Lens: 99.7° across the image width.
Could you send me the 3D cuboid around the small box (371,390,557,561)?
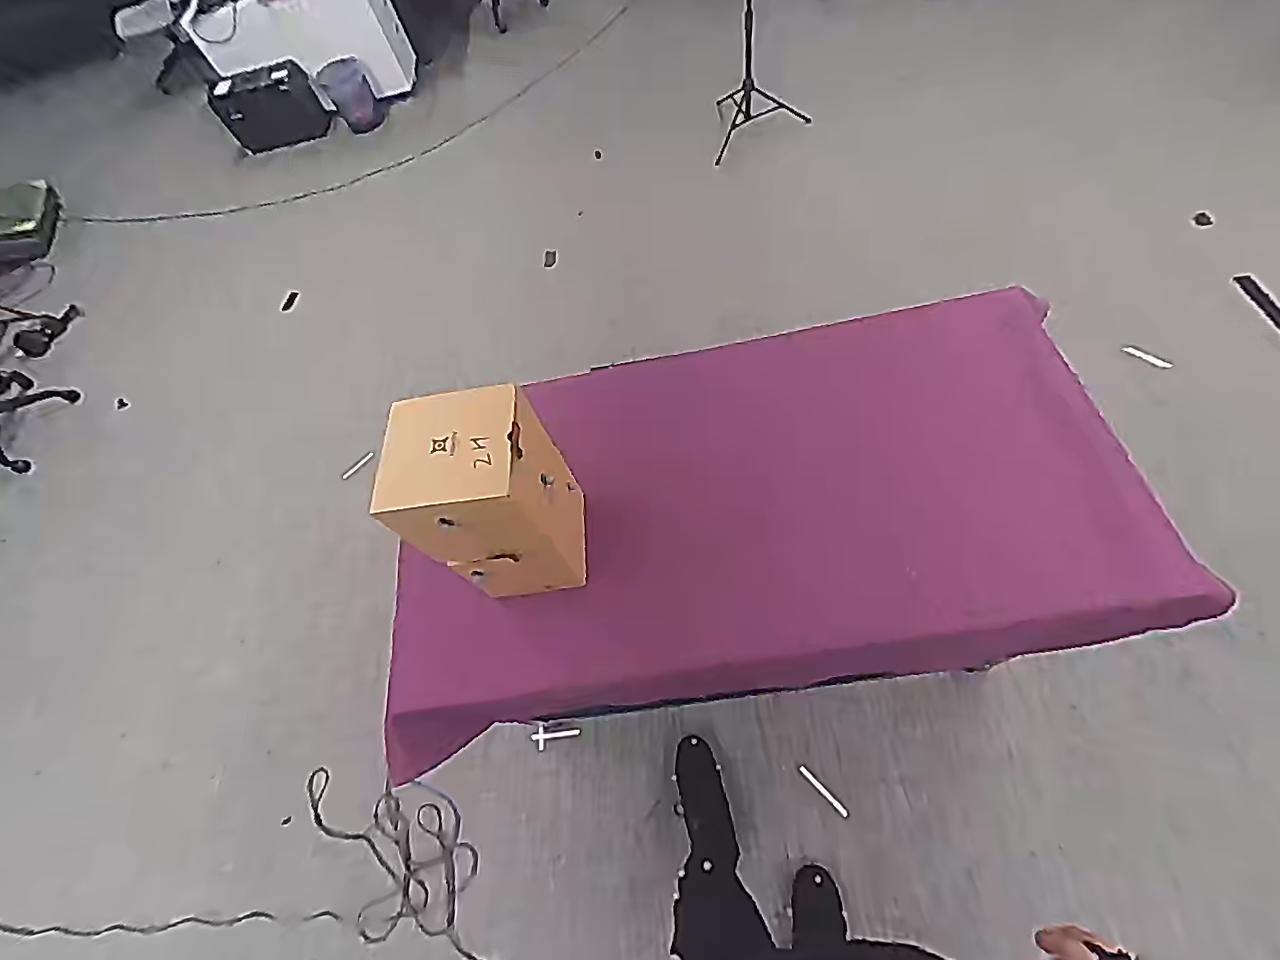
[{"bbox_3d":[-0.225,0.002,0.737,0.179,0.176,0.168,-7,61,7],"label":"small box"}]
